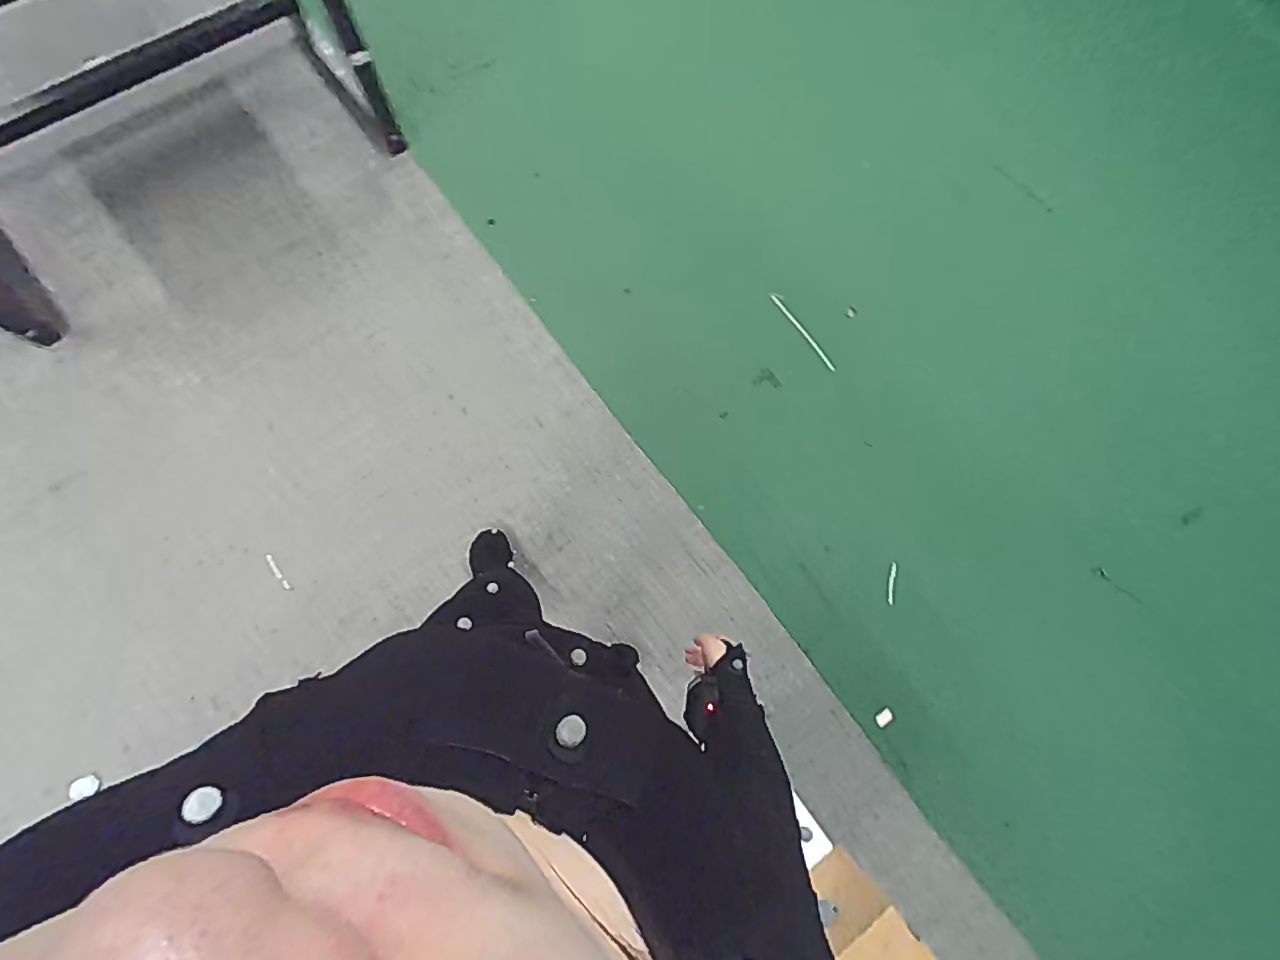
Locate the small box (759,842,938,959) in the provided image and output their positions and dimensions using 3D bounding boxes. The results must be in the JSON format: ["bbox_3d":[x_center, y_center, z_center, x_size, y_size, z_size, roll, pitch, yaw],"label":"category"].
[{"bbox_3d":[0.305,0.685,0.791,0.179,0.176,0.168,-34,84,-11],"label":"small box"}]
